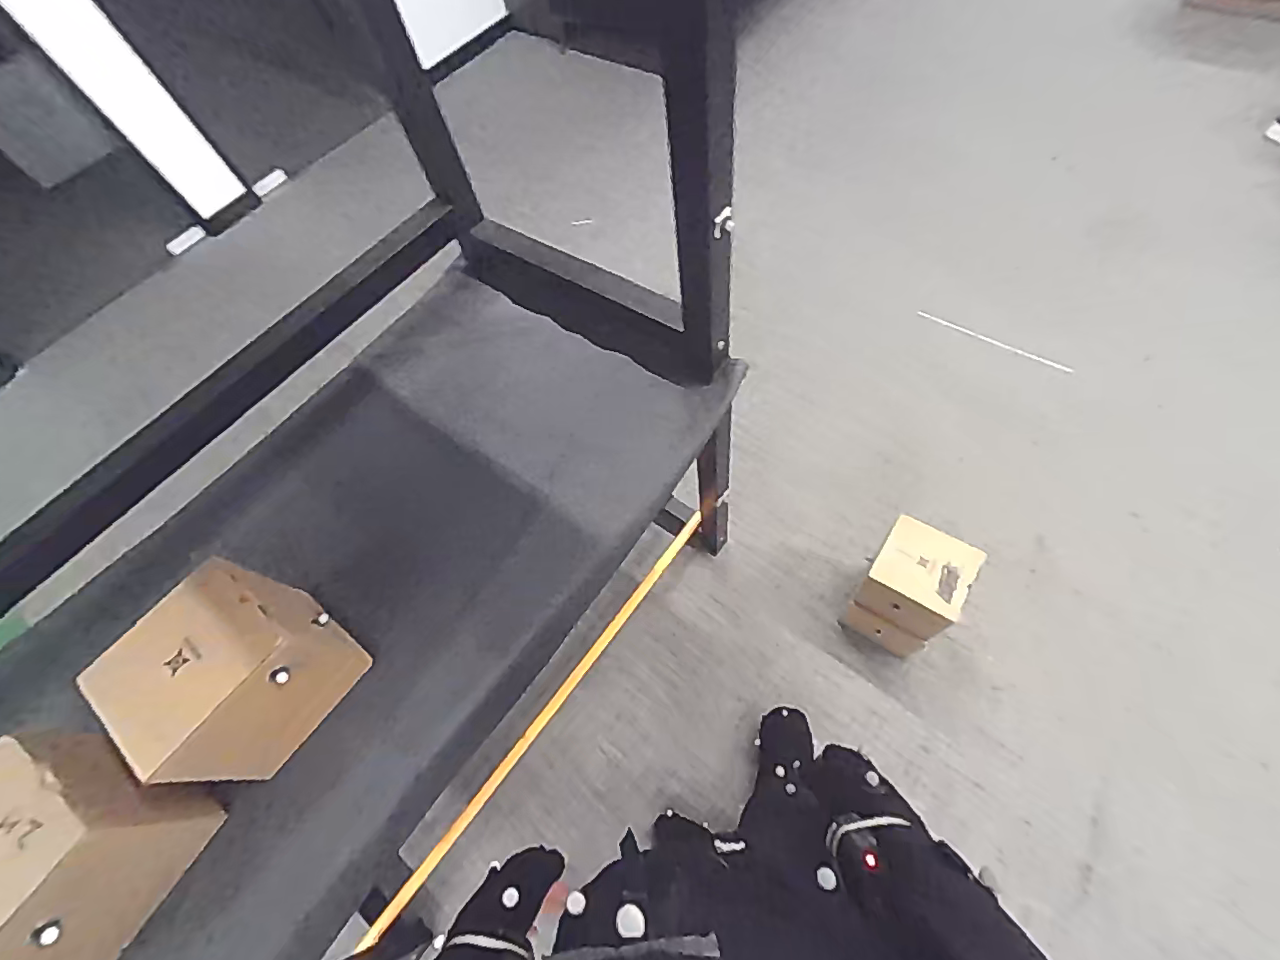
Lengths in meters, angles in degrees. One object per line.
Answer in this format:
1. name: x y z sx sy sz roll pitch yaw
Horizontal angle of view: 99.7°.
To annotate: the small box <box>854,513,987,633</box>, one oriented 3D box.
1. small box: 0.581 0.204 1.140 0.179 0.176 0.168 29 70 23
